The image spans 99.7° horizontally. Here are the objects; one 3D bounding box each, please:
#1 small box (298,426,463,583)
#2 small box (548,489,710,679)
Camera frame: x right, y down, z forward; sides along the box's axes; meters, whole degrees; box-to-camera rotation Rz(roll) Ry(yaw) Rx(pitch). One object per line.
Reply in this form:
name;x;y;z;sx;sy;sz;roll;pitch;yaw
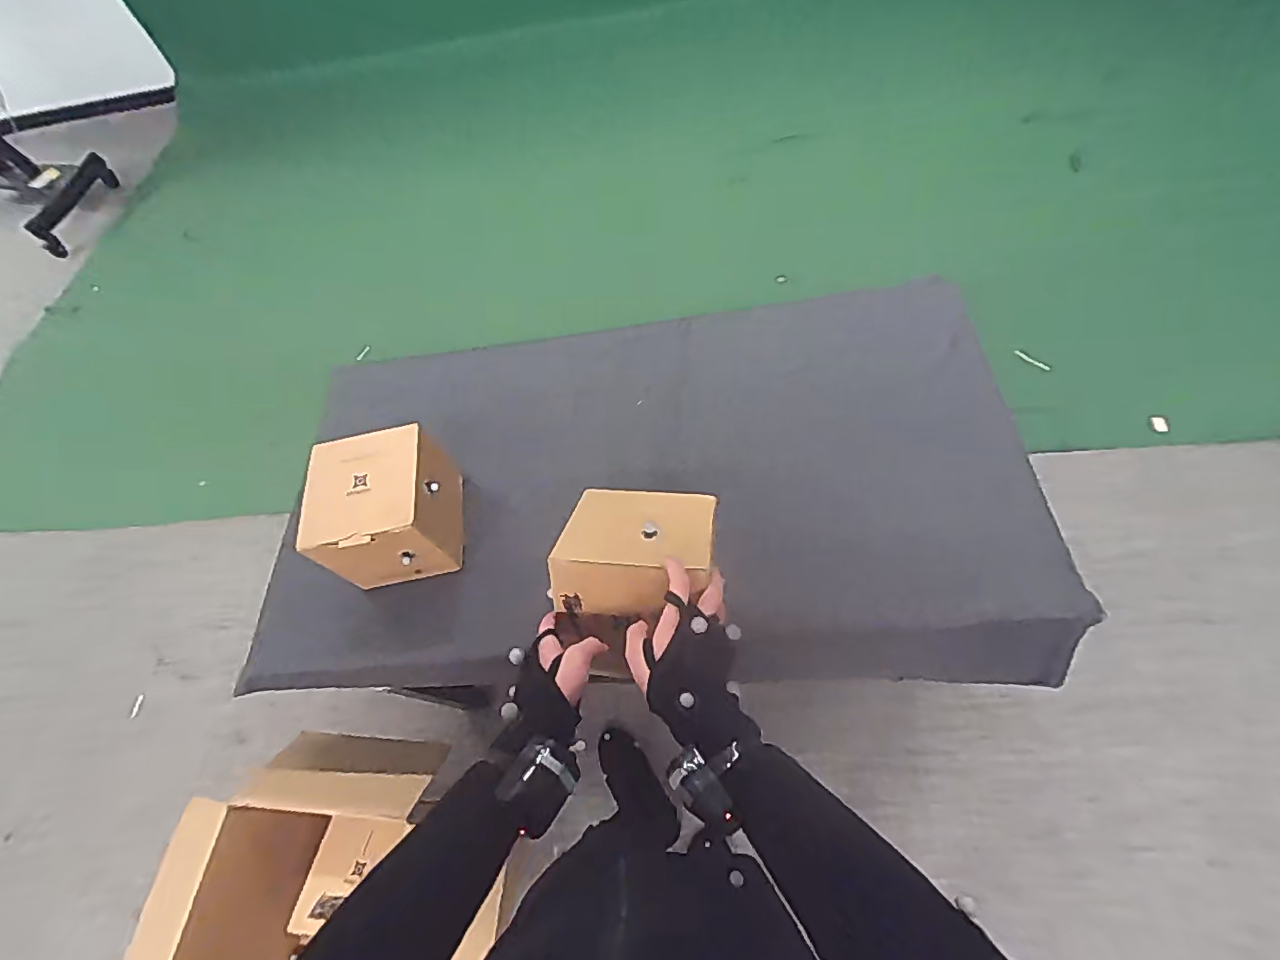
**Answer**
small box;-0.385;0.047;0.836;0.168;0.176;0.179;-12;58;1
small box;-0.003;0.121;0.678;0.179;0.168;0.176;3;26;8
